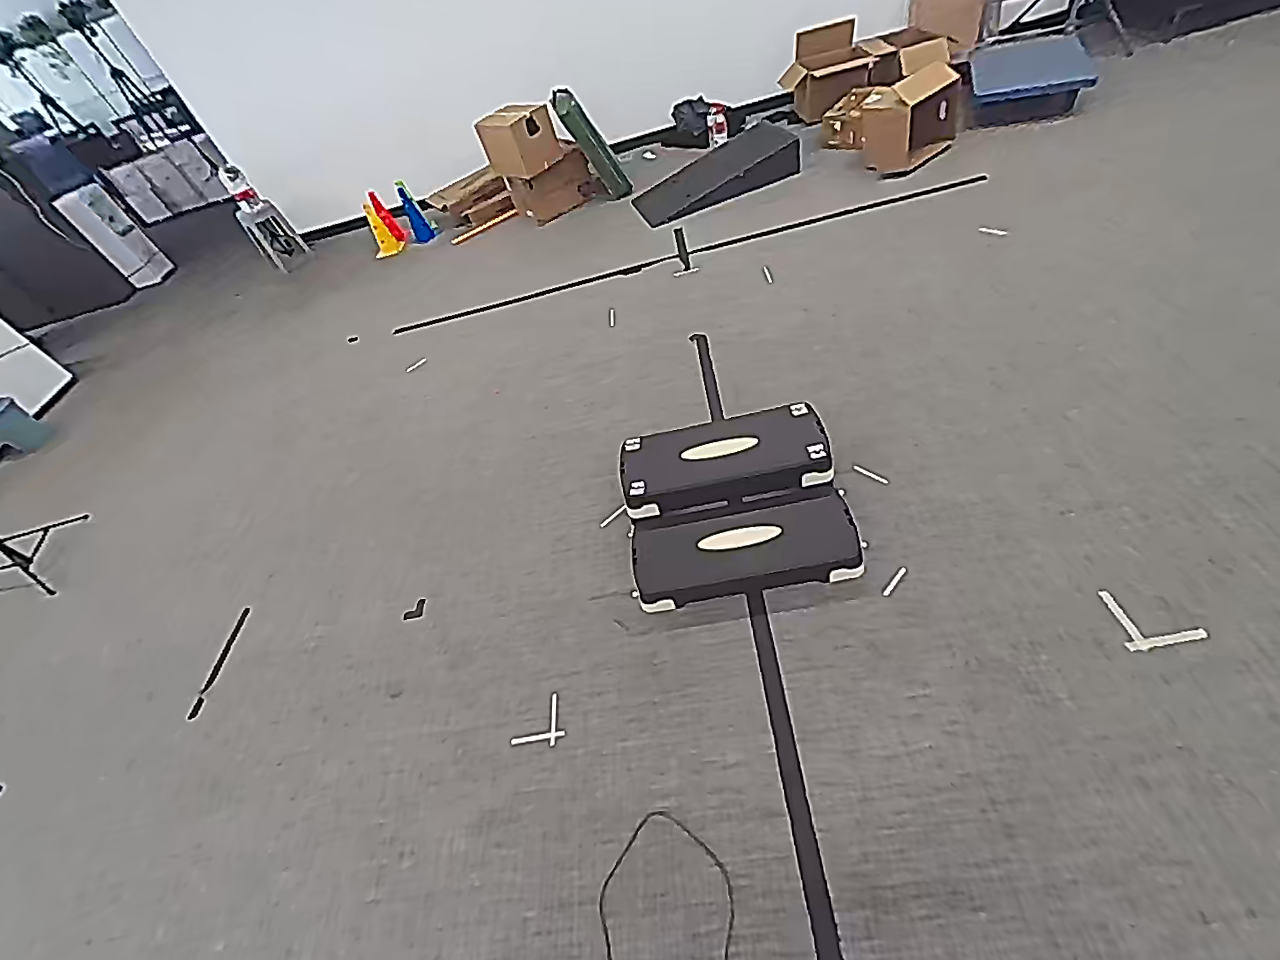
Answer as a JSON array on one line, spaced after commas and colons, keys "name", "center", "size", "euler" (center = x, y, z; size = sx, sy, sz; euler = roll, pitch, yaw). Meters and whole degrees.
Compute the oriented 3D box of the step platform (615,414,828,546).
[{"name": "step platform", "center": [0.258, -0.003, 1.794], "size": [0.684, 0.204, 0.286], "euler": [-12, 48, 6]}]
